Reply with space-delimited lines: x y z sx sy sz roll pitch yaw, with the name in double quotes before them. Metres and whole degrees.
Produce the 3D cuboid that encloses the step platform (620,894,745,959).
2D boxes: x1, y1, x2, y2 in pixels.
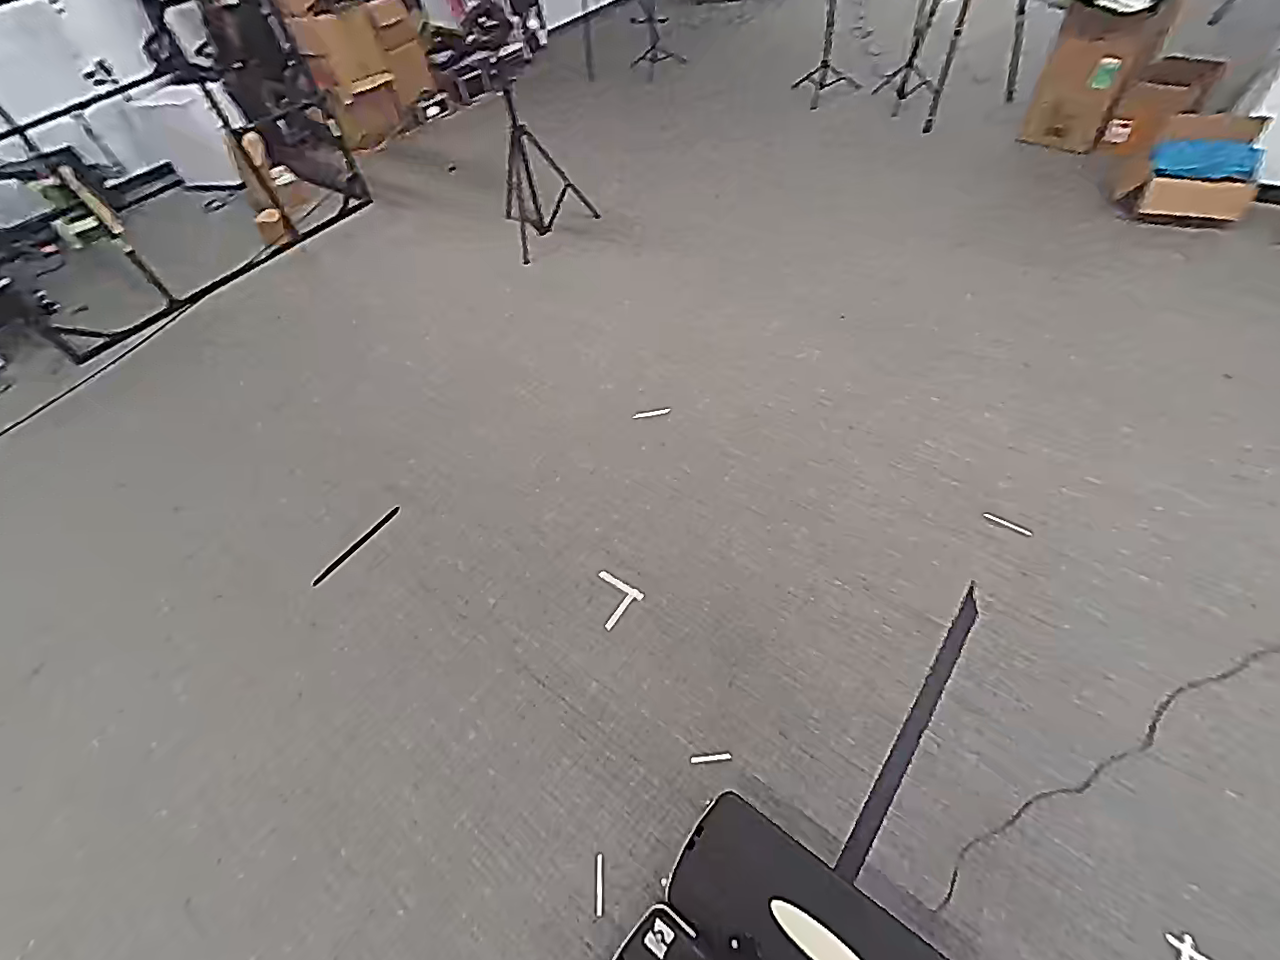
"step platform" 0.241 1.148 1.009 0.684 0.204 0.286 27 60 27
